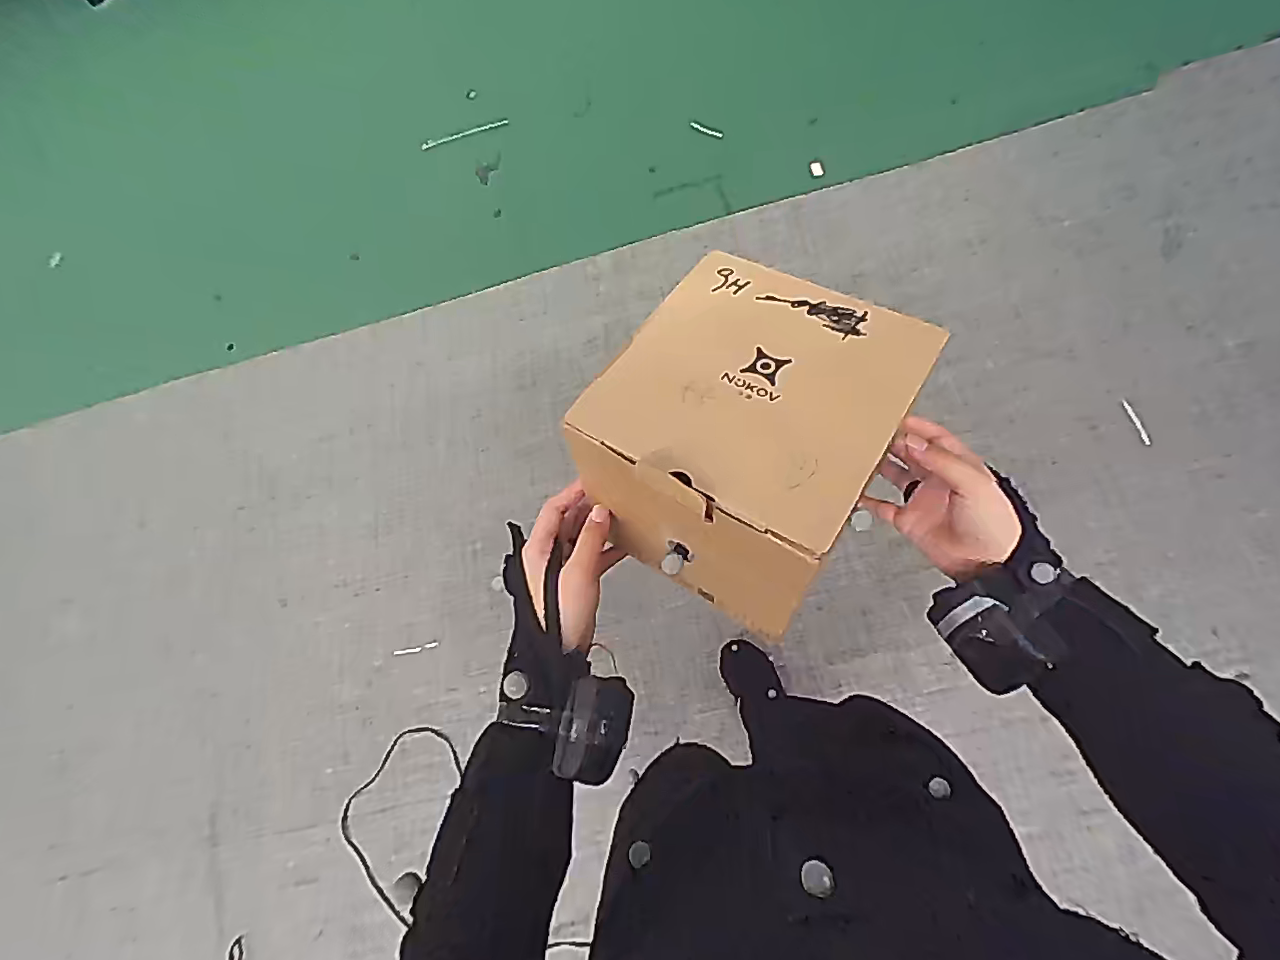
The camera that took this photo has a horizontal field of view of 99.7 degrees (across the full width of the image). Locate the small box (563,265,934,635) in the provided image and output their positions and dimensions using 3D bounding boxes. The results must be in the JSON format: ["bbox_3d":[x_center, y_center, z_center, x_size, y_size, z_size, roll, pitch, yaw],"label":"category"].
[{"bbox_3d":[0.075,-0.014,0.396,0.168,0.176,0.179,29,67,21],"label":"small box"}]
